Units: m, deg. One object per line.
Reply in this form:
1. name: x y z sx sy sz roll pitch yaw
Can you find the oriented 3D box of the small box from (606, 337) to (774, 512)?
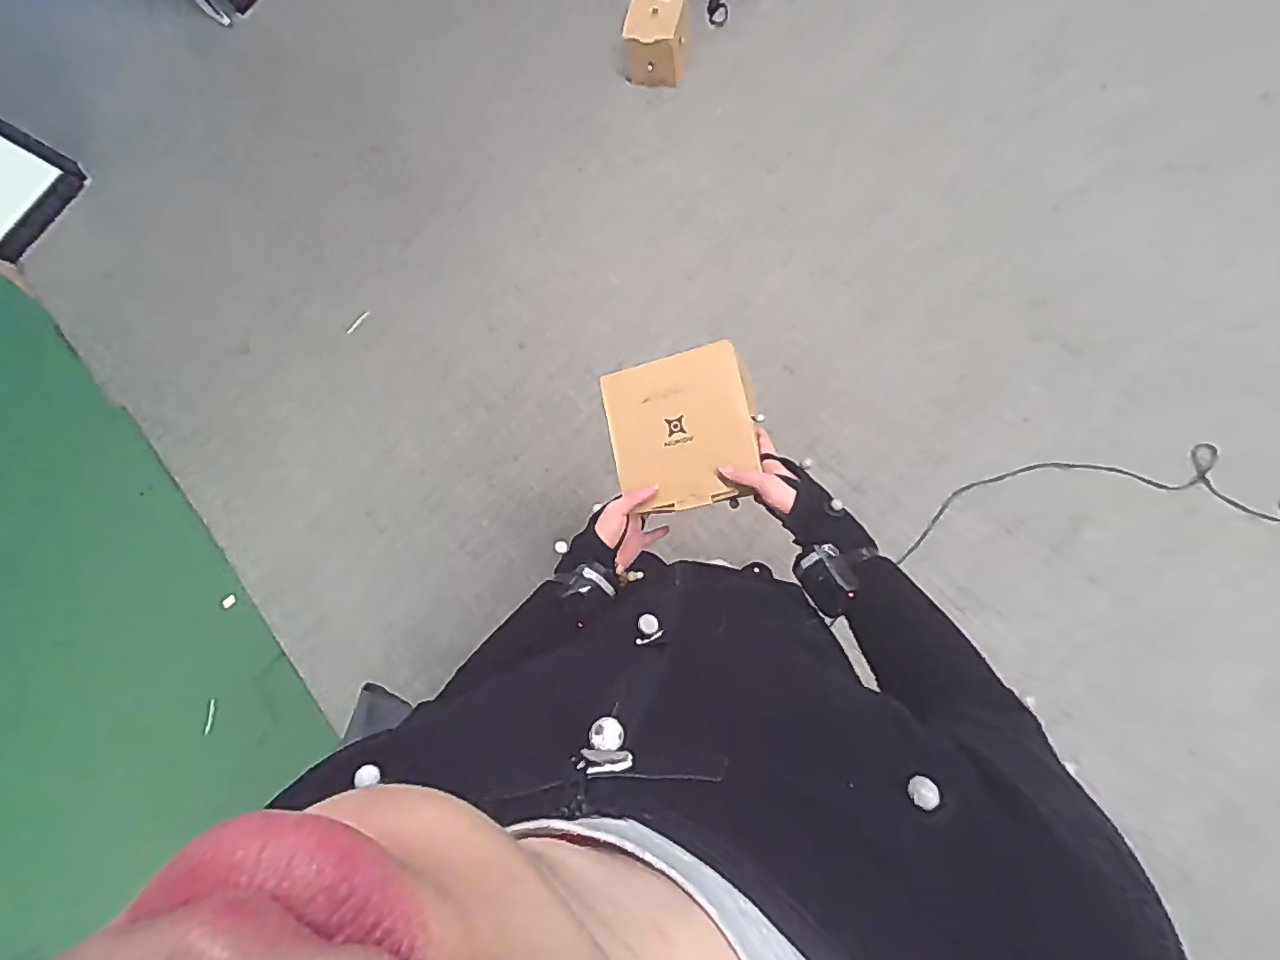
1. small box: 0.075 -0.061 0.711 0.168 0.176 0.179 -14 83 16
